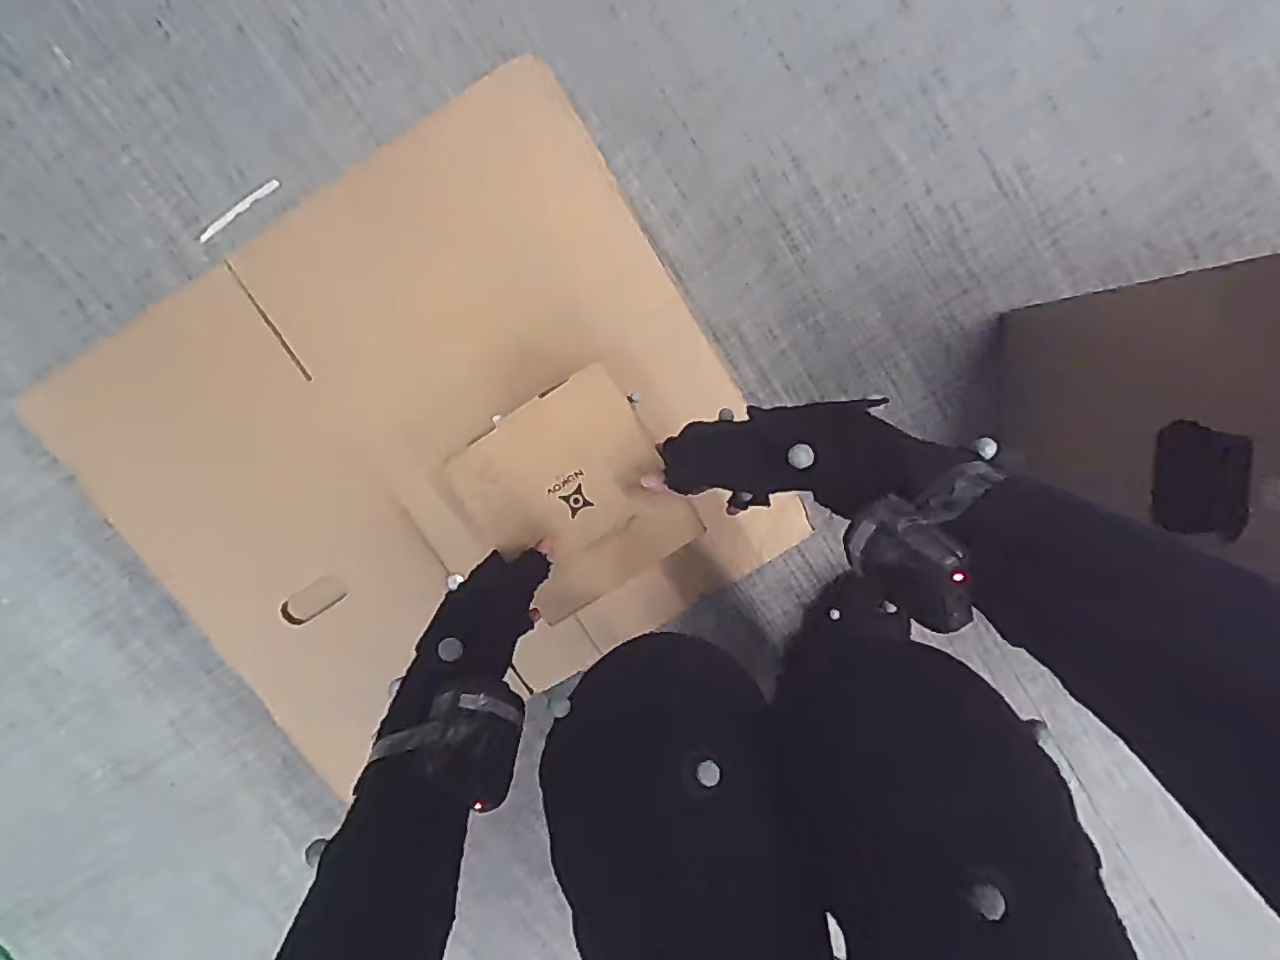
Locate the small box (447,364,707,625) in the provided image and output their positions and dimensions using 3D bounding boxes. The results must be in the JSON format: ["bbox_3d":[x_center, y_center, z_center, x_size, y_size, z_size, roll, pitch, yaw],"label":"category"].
[{"bbox_3d":[-0.054,0.007,0.545,0.168,0.176,0.179,-34,96,6],"label":"small box"}]
